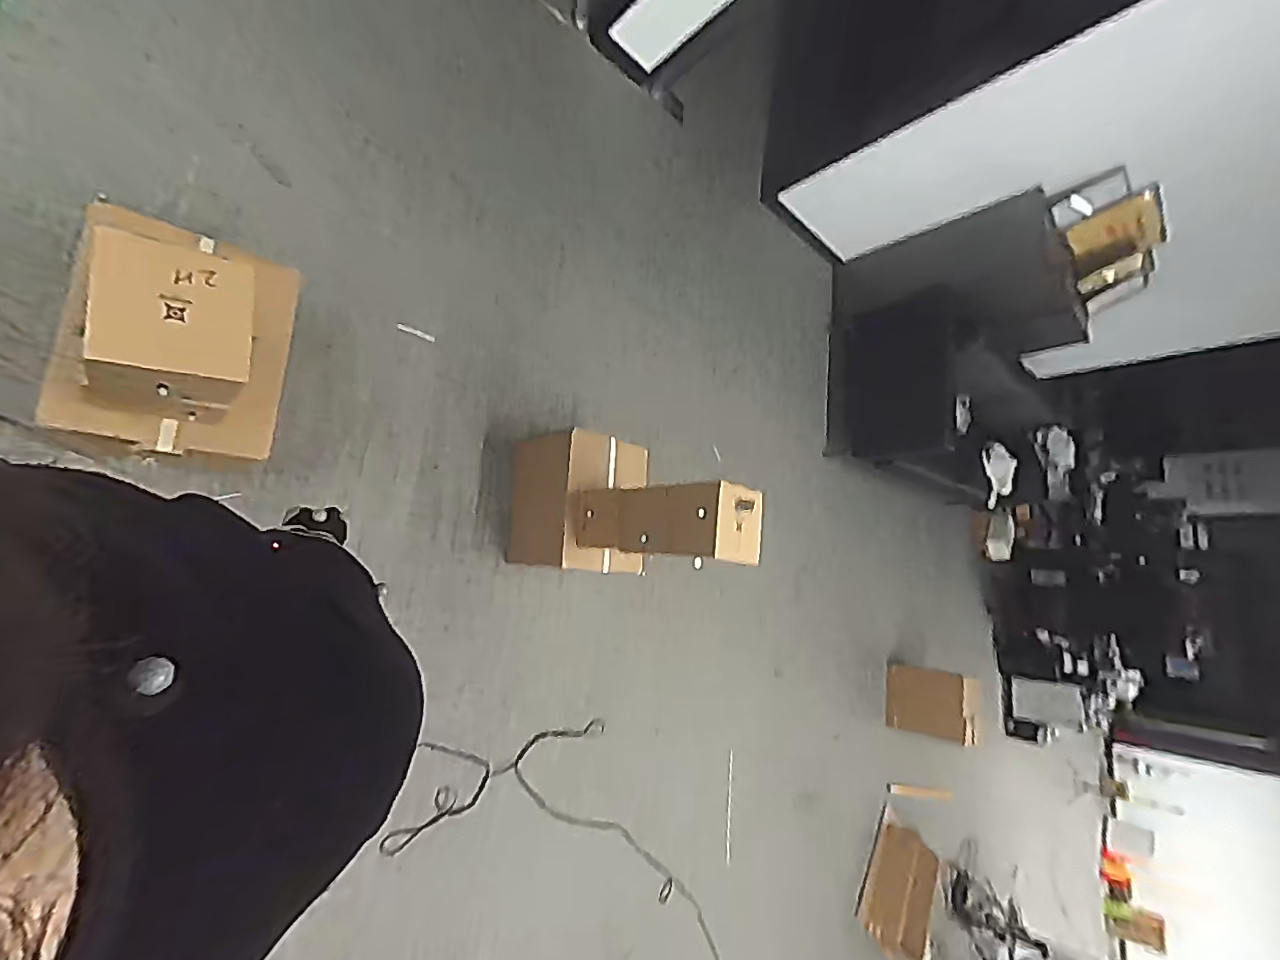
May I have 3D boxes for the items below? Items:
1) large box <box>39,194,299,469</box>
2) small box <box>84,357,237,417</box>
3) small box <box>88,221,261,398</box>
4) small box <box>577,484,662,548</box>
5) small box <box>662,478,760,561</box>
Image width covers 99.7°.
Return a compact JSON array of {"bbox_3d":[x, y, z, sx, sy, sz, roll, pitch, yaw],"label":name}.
[{"bbox_3d":[-0.925,-0.254,1.090,0.320,0.320,0.408,13,76,-42],"label":"large box"},{"bbox_3d":[-0.775,-0.207,0.893,0.179,0.176,0.168,11,78,-41],"label":"small box"},{"bbox_3d":[-0.661,-0.226,0.775,0.168,0.176,0.179,5,81,-43],"label":"small box"},{"bbox_3d":[-0.058,0.106,1.555,0.179,0.176,0.168,10,80,-42],"label":"small box"},{"bbox_3d":[0.171,0.098,1.319,0.168,0.176,0.179,14,78,-41],"label":"small box"}]
